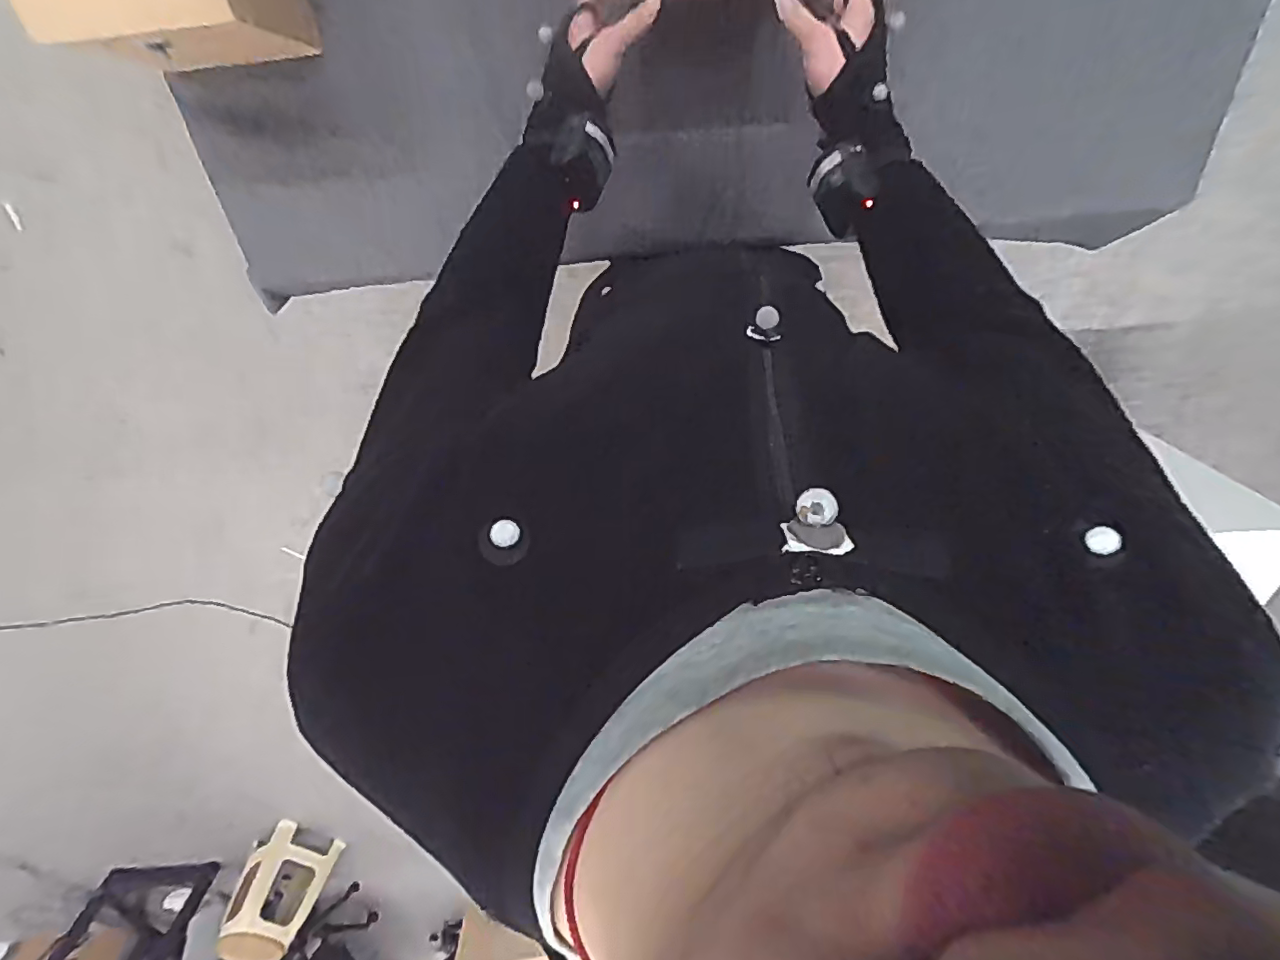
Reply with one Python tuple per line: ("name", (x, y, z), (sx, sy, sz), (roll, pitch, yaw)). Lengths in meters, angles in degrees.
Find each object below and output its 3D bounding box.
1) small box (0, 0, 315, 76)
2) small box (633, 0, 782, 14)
("small box", (-0.423, -0.460, 0.456), (0.179, 0.176, 0.168), (-8, 120, -1))
("small box", (0.078, -0.526, 0.458), (0.179, 0.176, 0.168), (-5, 118, 0))
